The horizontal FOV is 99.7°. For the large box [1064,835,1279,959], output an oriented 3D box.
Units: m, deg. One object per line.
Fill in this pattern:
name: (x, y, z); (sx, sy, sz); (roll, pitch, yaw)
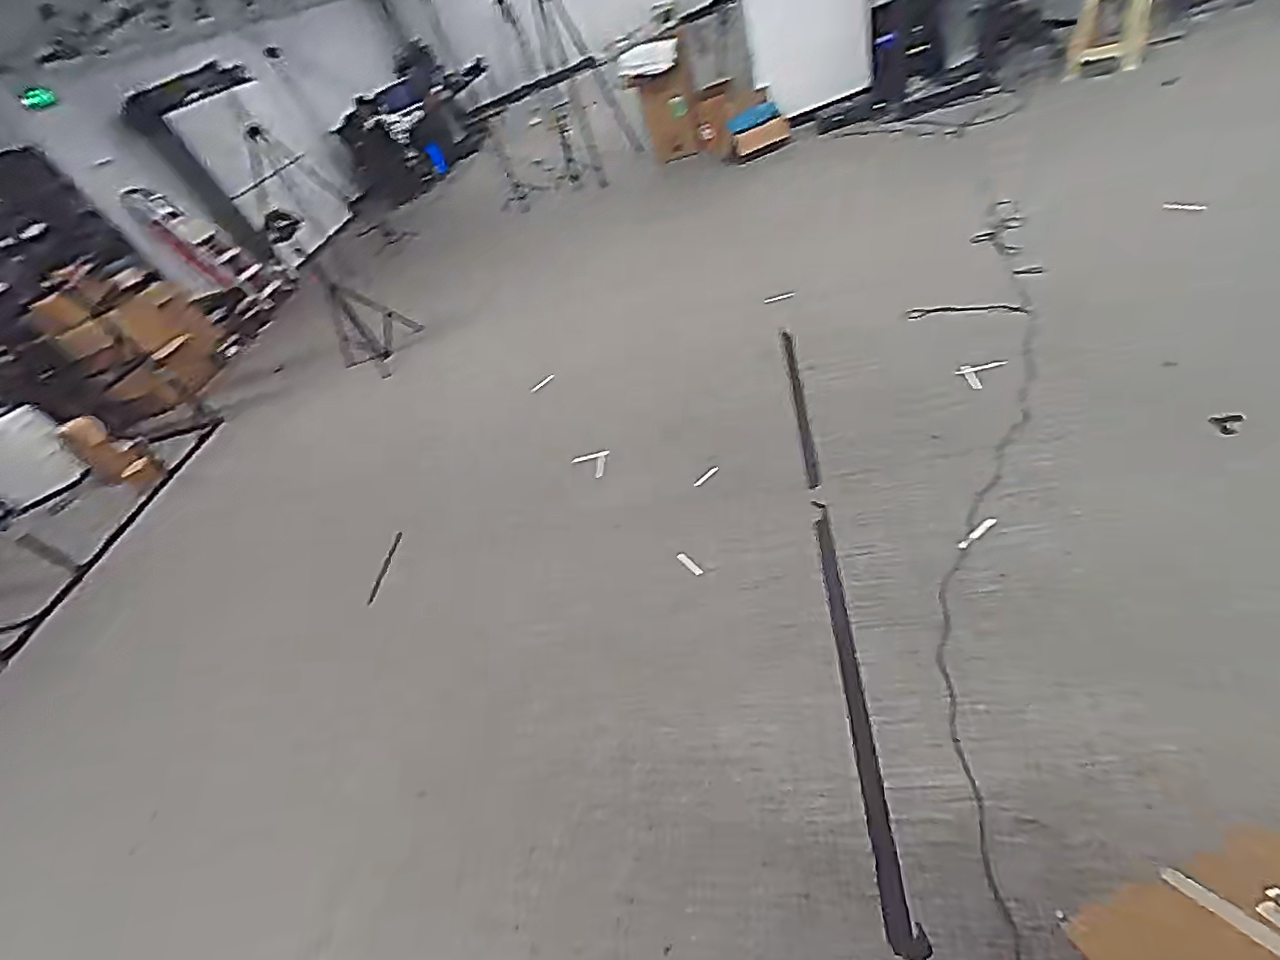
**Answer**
large box: (0.740, 0.626, 0.495); (0.320, 0.408, 0.320); (-28, 74, 4)
